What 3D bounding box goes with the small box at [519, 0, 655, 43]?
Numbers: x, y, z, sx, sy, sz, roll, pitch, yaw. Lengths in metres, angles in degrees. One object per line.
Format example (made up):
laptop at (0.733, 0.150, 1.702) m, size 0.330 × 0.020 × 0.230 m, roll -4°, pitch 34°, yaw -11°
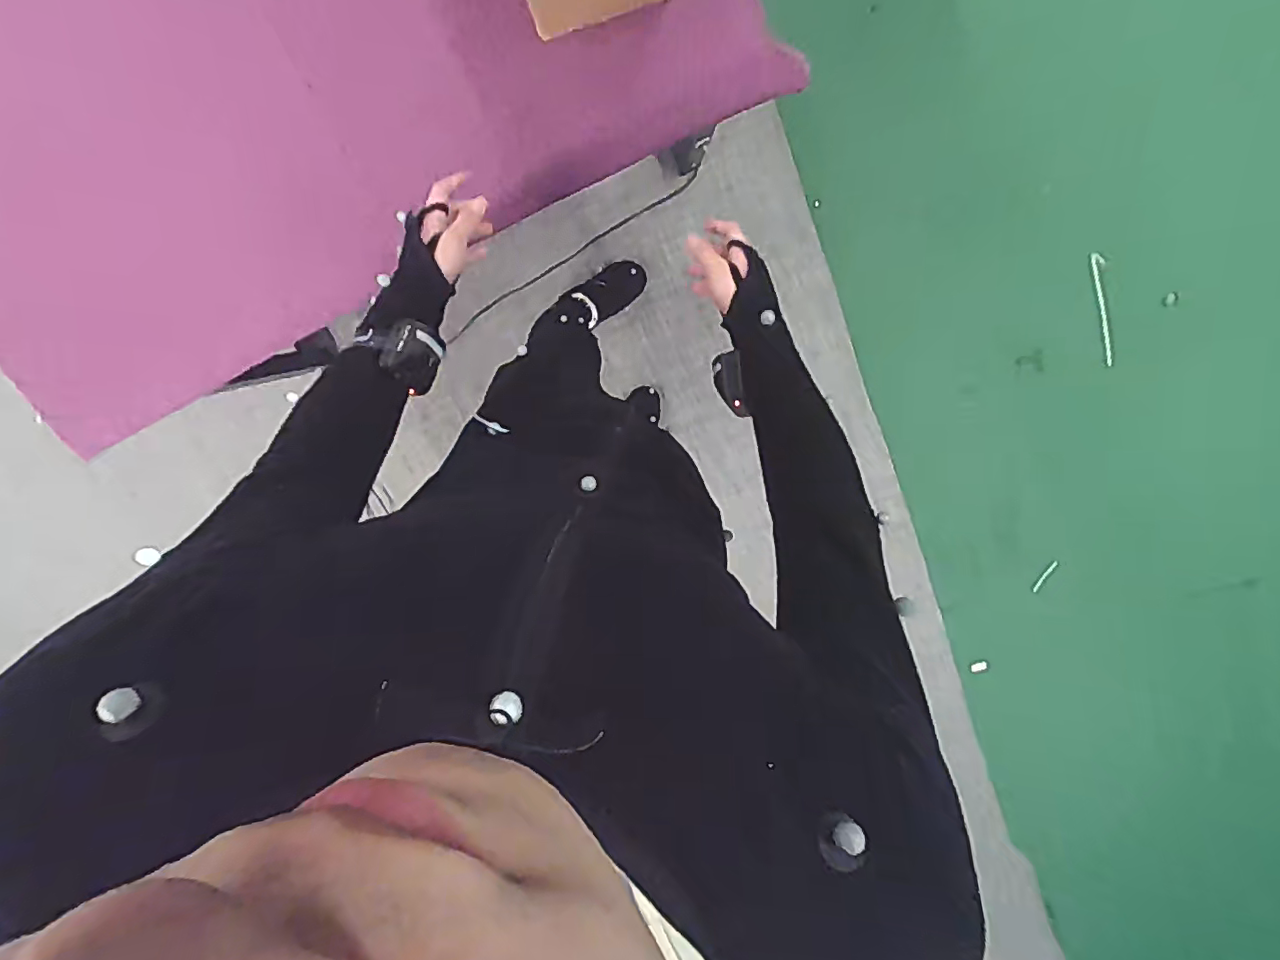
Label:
small box at (-0.068, -0.624, 0.584) m, size 0.179 × 0.176 × 0.168 m, roll -14°, pitch 107°, yaw 6°
